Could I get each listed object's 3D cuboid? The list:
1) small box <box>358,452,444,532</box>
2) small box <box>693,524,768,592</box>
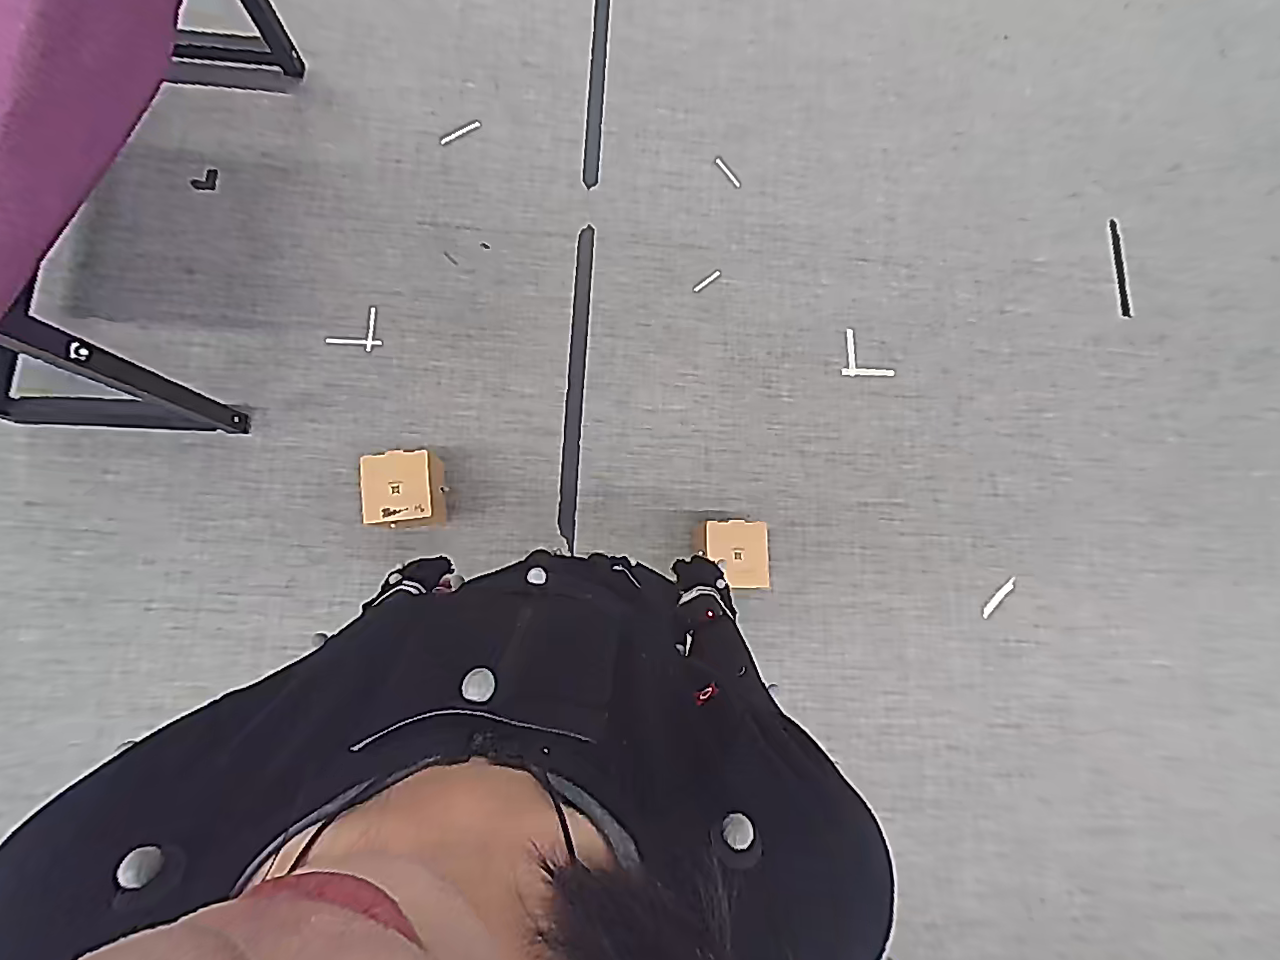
[{"bbox_3d":[-0.621,0.035,1.416,0.168,0.176,0.179,-6,80,-7],"label":"small box"},{"bbox_3d":[0.242,0.214,1.481,0.168,0.176,0.179,0,81,-5],"label":"small box"}]
